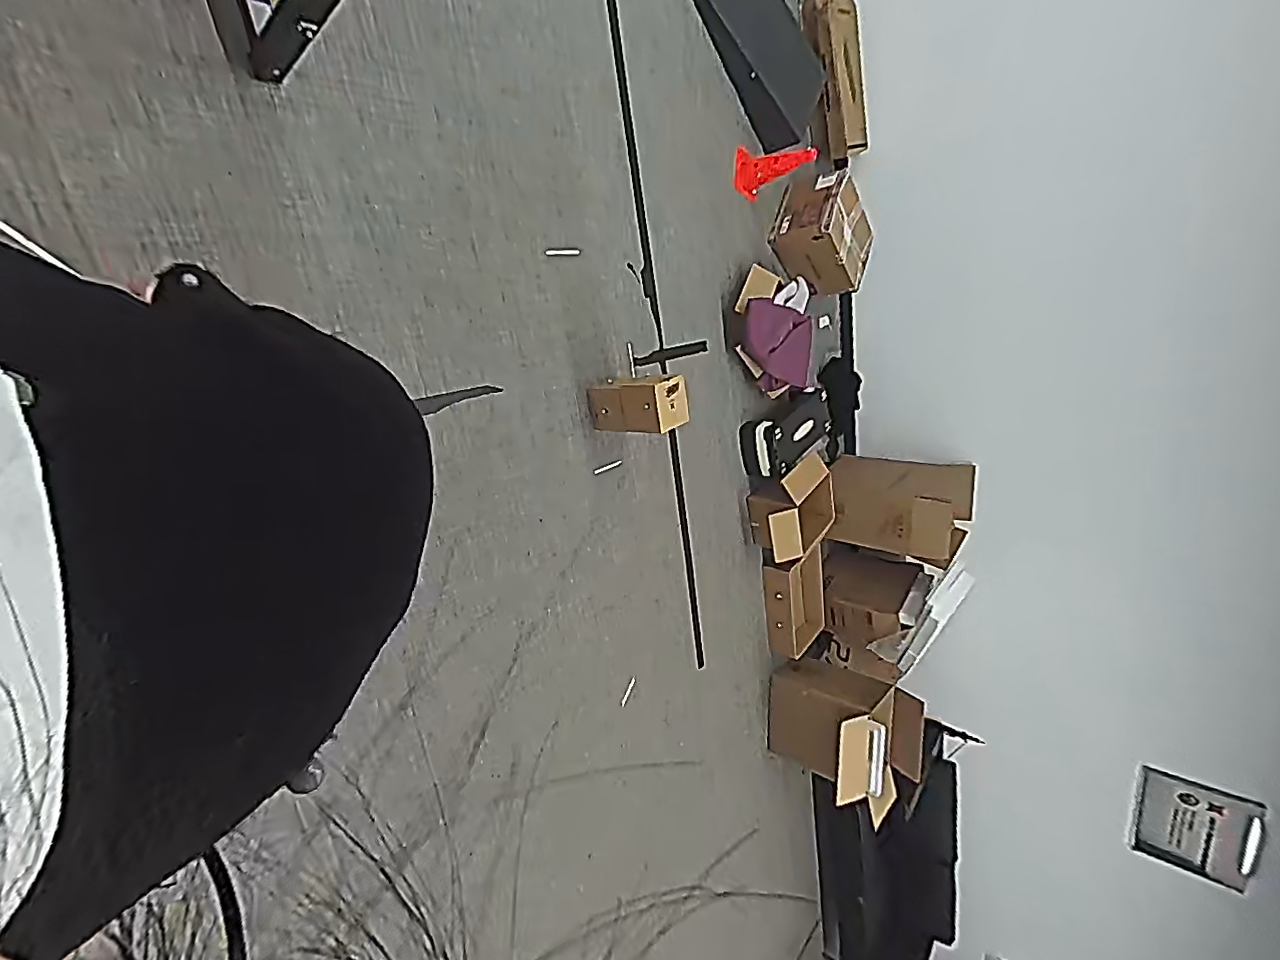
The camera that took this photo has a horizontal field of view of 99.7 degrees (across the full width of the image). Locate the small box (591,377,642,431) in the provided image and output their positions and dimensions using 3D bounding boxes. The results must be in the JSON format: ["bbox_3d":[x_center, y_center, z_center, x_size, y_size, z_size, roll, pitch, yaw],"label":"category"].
[{"bbox_3d":[-0.070,-0.290,2.048,0.179,0.176,0.168,-28,116,-41],"label":"small box"}]

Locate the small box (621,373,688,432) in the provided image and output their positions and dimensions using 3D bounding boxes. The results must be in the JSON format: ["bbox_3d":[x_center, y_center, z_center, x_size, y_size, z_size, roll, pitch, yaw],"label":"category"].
[{"bbox_3d":[0.049,-0.277,1.933,0.168,0.176,0.179,-29,117,-42],"label":"small box"}]
